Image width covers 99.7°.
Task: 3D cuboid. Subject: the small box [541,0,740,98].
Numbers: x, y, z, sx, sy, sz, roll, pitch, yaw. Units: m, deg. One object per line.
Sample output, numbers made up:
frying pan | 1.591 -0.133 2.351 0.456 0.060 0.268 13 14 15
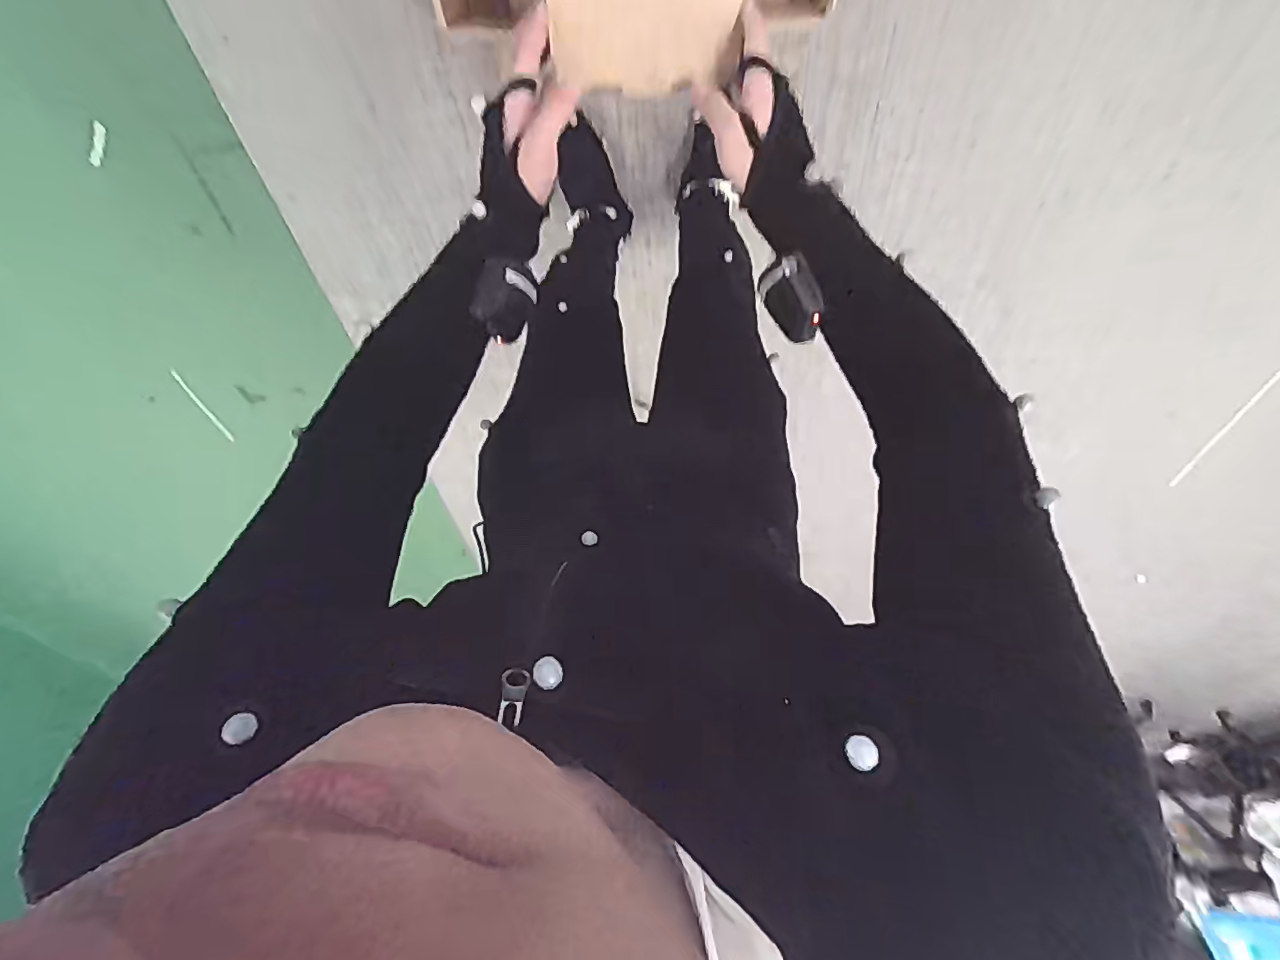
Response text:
small box | -0.003 -0.463 0.480 0.168 0.176 0.179 -3 135 -2
